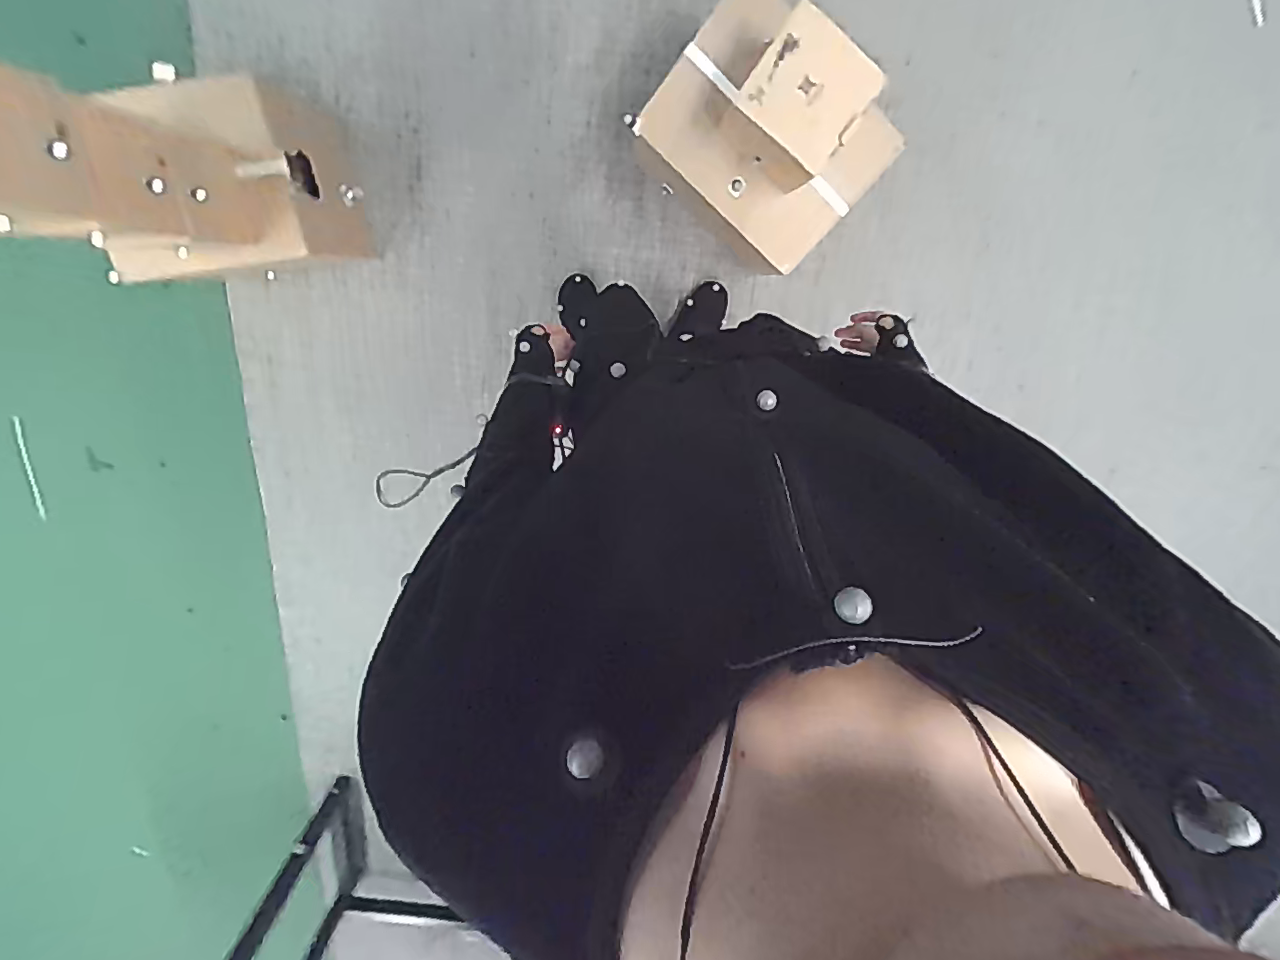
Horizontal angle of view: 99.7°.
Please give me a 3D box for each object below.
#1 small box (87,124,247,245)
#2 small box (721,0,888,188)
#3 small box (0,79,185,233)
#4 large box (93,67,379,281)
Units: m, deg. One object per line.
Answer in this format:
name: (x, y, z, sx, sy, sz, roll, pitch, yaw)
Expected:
small box: (-0.829, -0.505, 0.936, 0.168, 0.176, 0.179, -2, 111, 0)
small box: (0.259, -0.613, 0.892, 0.179, 0.176, 0.168, 35, 105, -13)
small box: (-0.826, -0.455, 0.782, 0.179, 0.176, 0.168, -1, 111, -1)
large box: (-0.858, -0.617, 1.157, 0.408, 0.320, 0.320, -6, 109, 4)
